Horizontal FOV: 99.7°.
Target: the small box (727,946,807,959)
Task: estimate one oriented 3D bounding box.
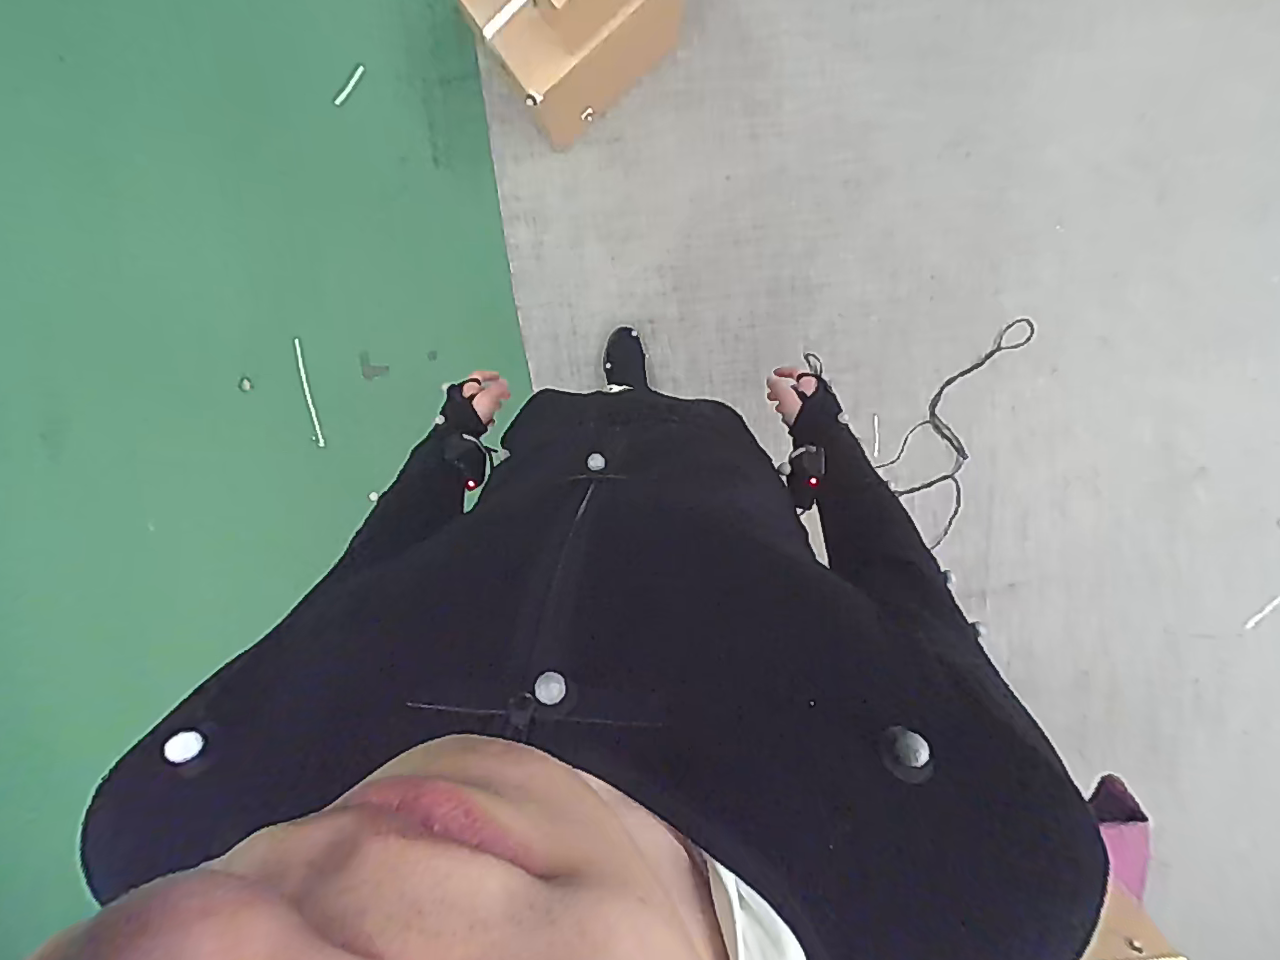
[{"bbox_3d":[0.261,1.065,1.060,0.179,0.176,0.168,-6,103,1],"label":"small box"}]

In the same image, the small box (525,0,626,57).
[{"bbox_3d":[-0.129,-0.947,0.995,0.179,0.176,0.168,-37,101,9],"label":"small box"}]
